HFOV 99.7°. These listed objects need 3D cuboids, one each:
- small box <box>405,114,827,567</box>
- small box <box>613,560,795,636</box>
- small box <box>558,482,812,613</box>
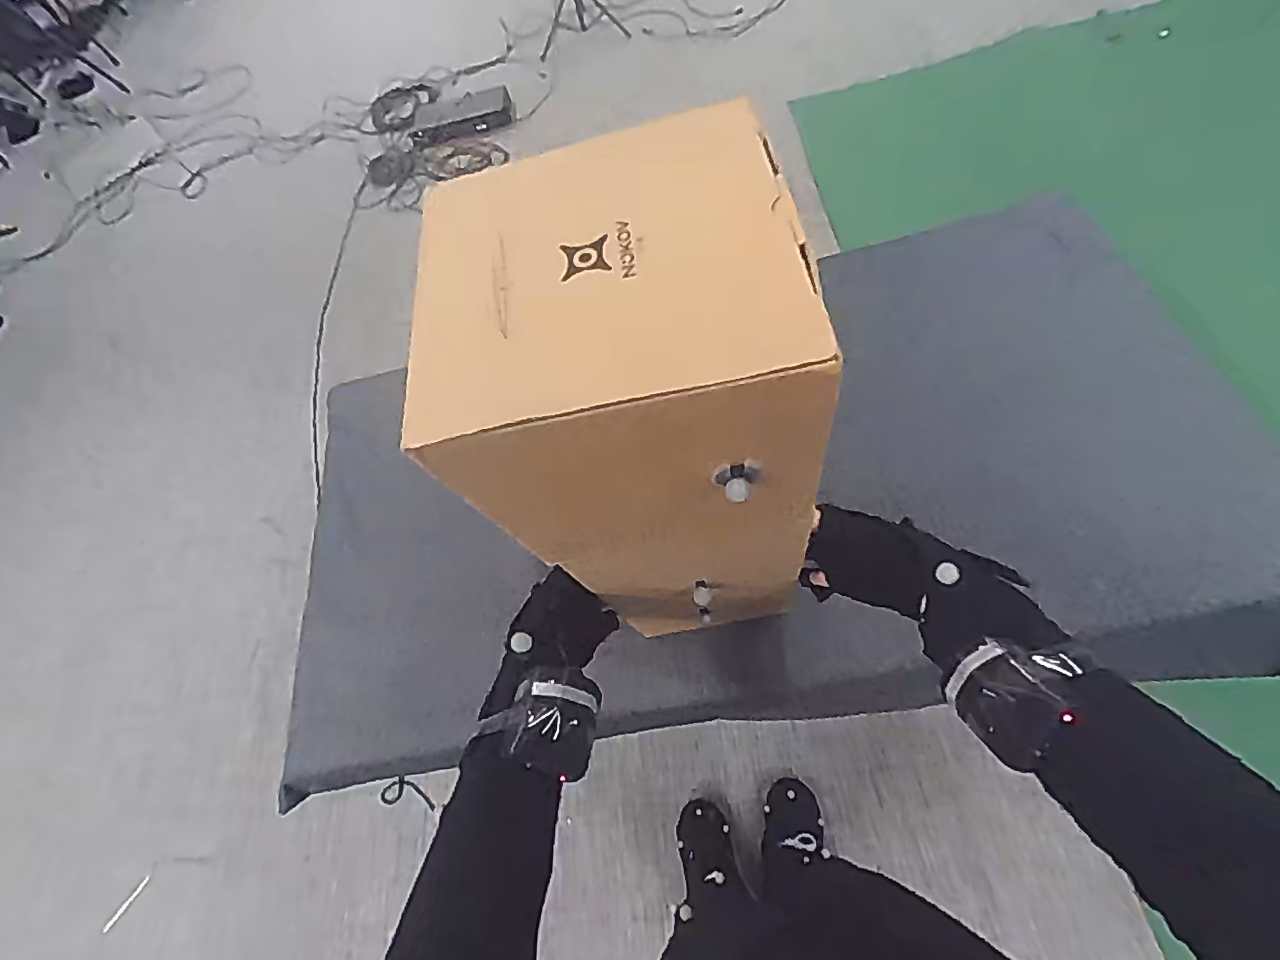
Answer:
[{"bbox_3d":[-0.005,-0.061,0.317,0.179,0.176,0.168,-12,62,9],"label":"small box"},{"bbox_3d":[0.064,0.069,0.608,0.179,0.176,0.168,-13,63,8],"label":"small box"},{"bbox_3d":[0.031,0.004,0.463,0.179,0.176,0.168,-14,63,7],"label":"small box"}]
